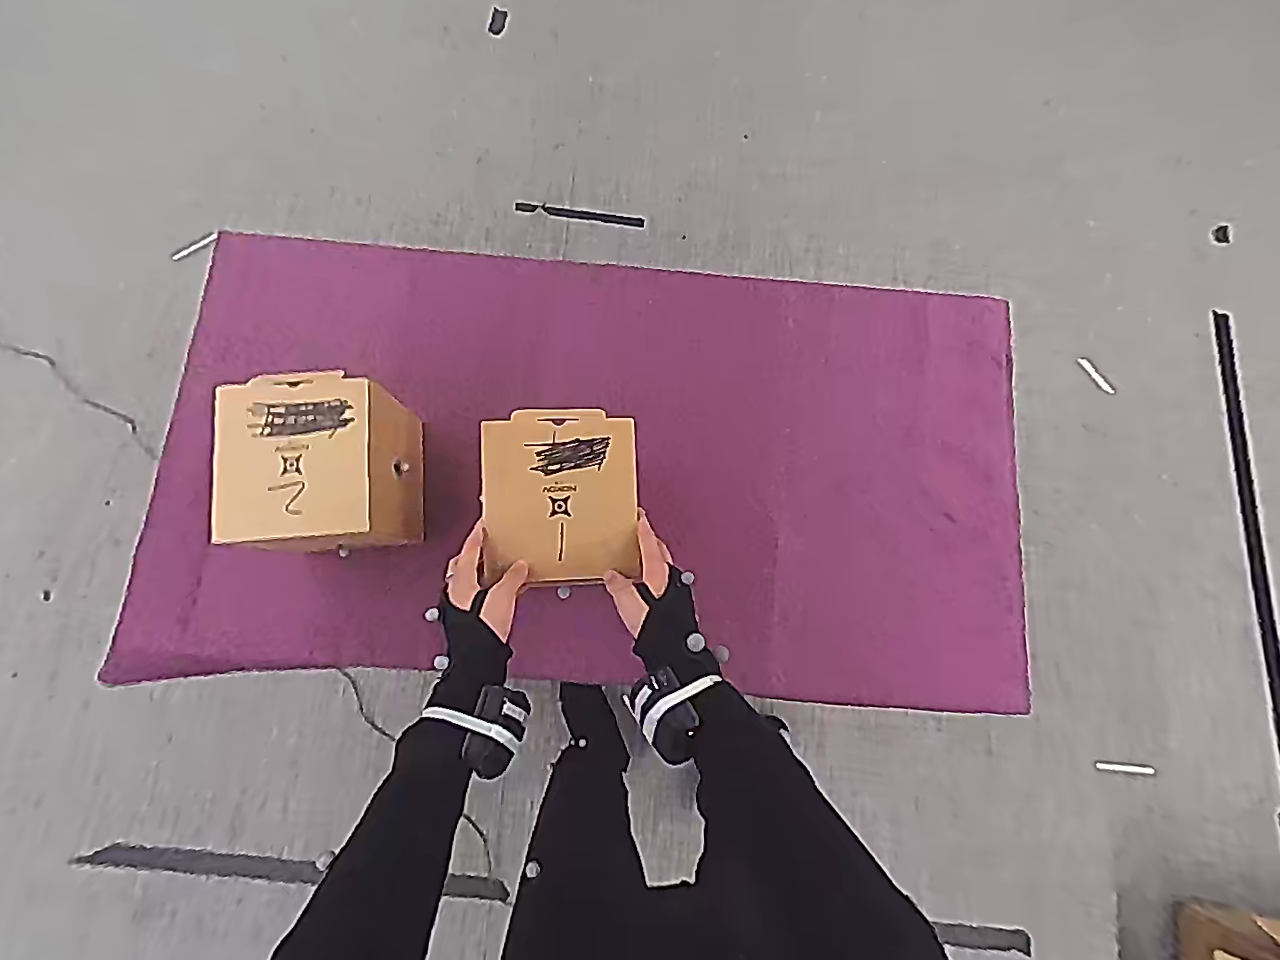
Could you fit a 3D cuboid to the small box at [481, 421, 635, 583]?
[{"bbox_3d":[-0.094,0.036,0.670,0.168,0.176,0.179,-1,79,-4],"label":"small box"}]
